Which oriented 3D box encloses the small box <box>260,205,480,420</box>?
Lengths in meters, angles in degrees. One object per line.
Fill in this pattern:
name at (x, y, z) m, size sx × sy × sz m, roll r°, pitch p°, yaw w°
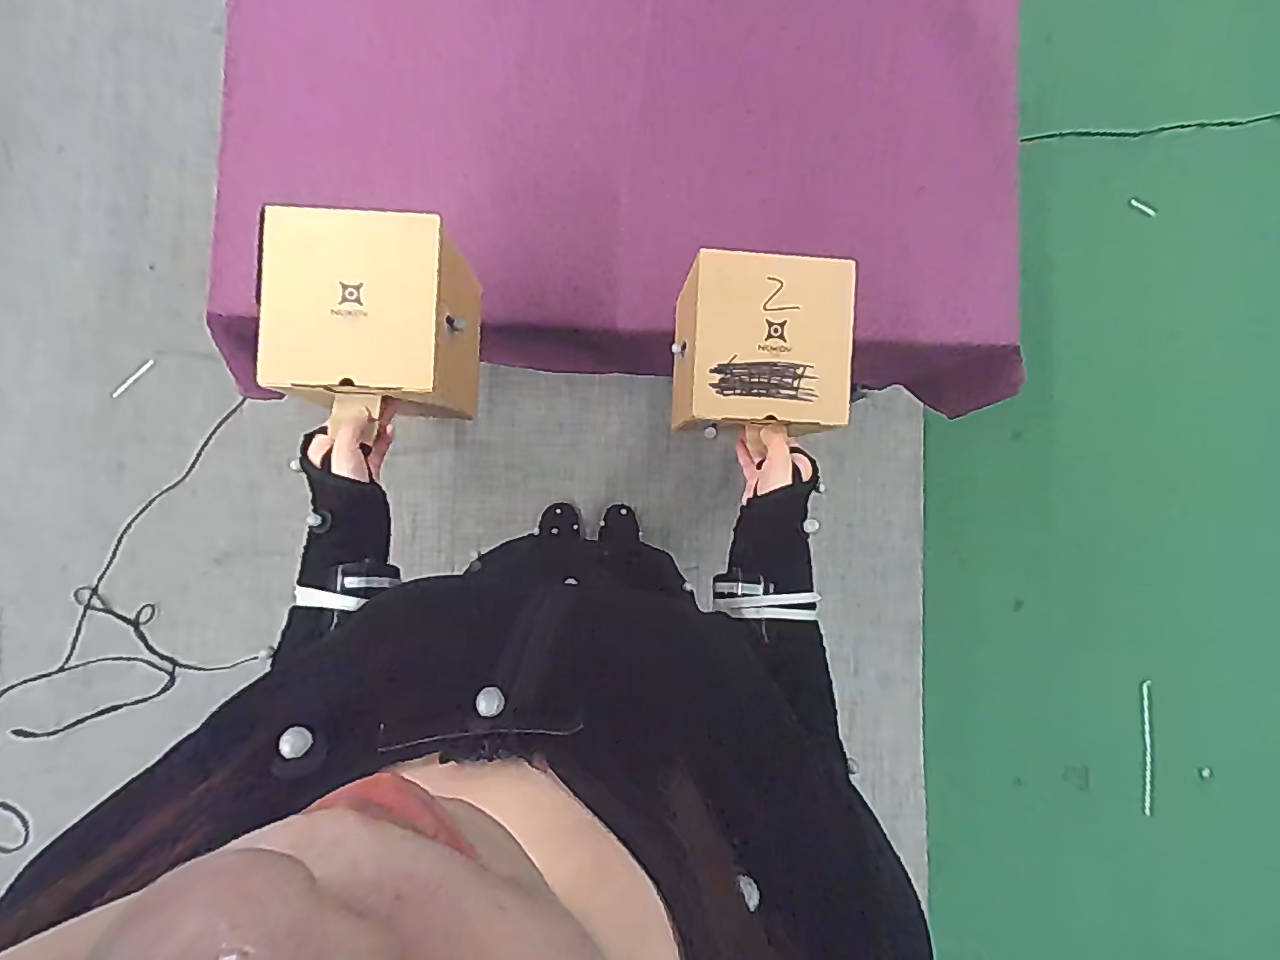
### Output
small box at (-0.278, -0.169, 0.596) m, size 0.168 × 0.176 × 0.179 m, roll 2°, pitch 88°, yaw -4°
